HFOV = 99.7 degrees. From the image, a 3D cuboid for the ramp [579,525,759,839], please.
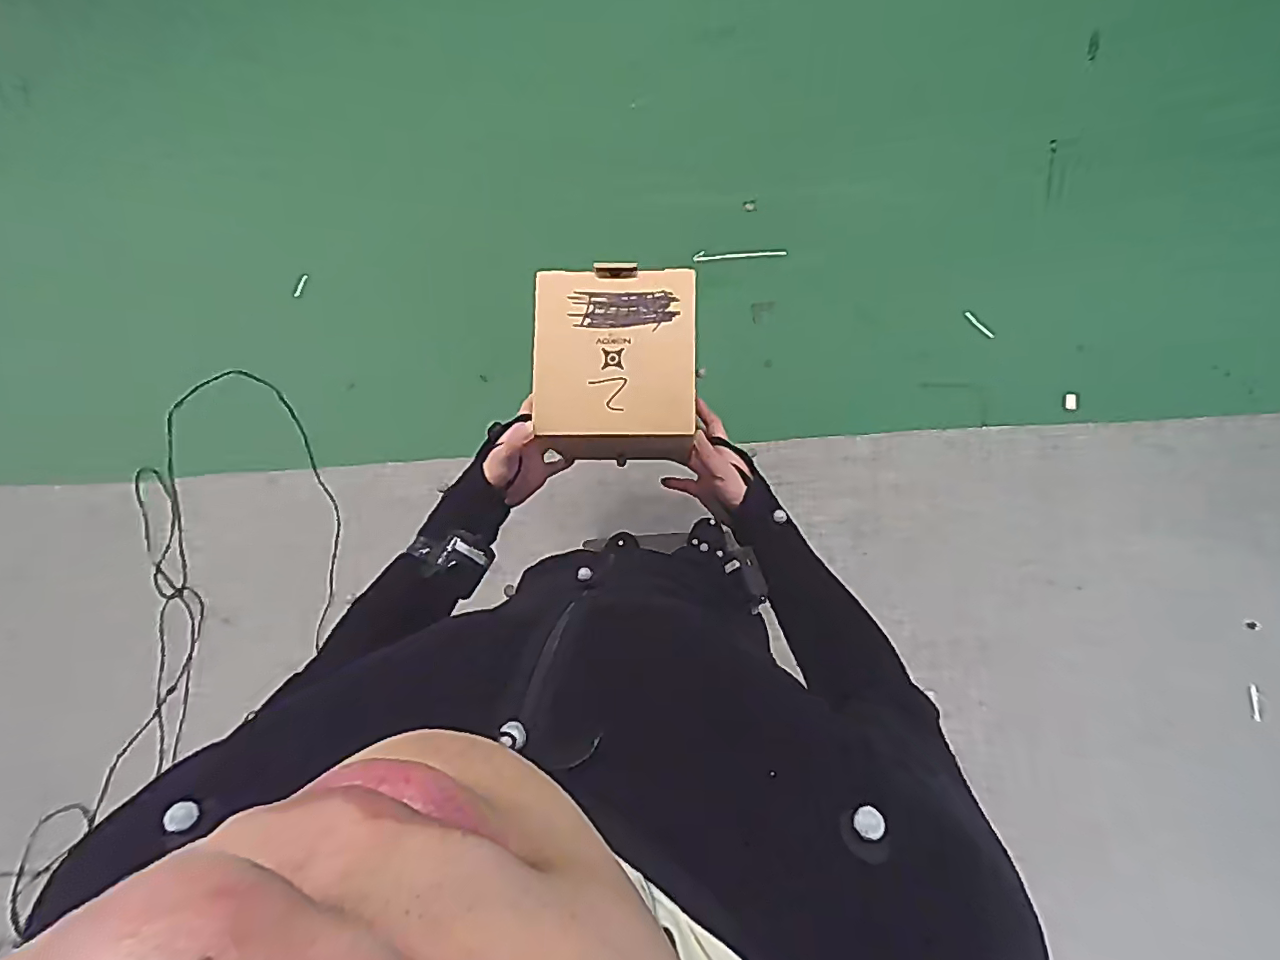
[{"bbox_3d":[0.099,0.644,1.678,0.509,0.206,0.991,-6,86,3],"label":"ramp"}]
